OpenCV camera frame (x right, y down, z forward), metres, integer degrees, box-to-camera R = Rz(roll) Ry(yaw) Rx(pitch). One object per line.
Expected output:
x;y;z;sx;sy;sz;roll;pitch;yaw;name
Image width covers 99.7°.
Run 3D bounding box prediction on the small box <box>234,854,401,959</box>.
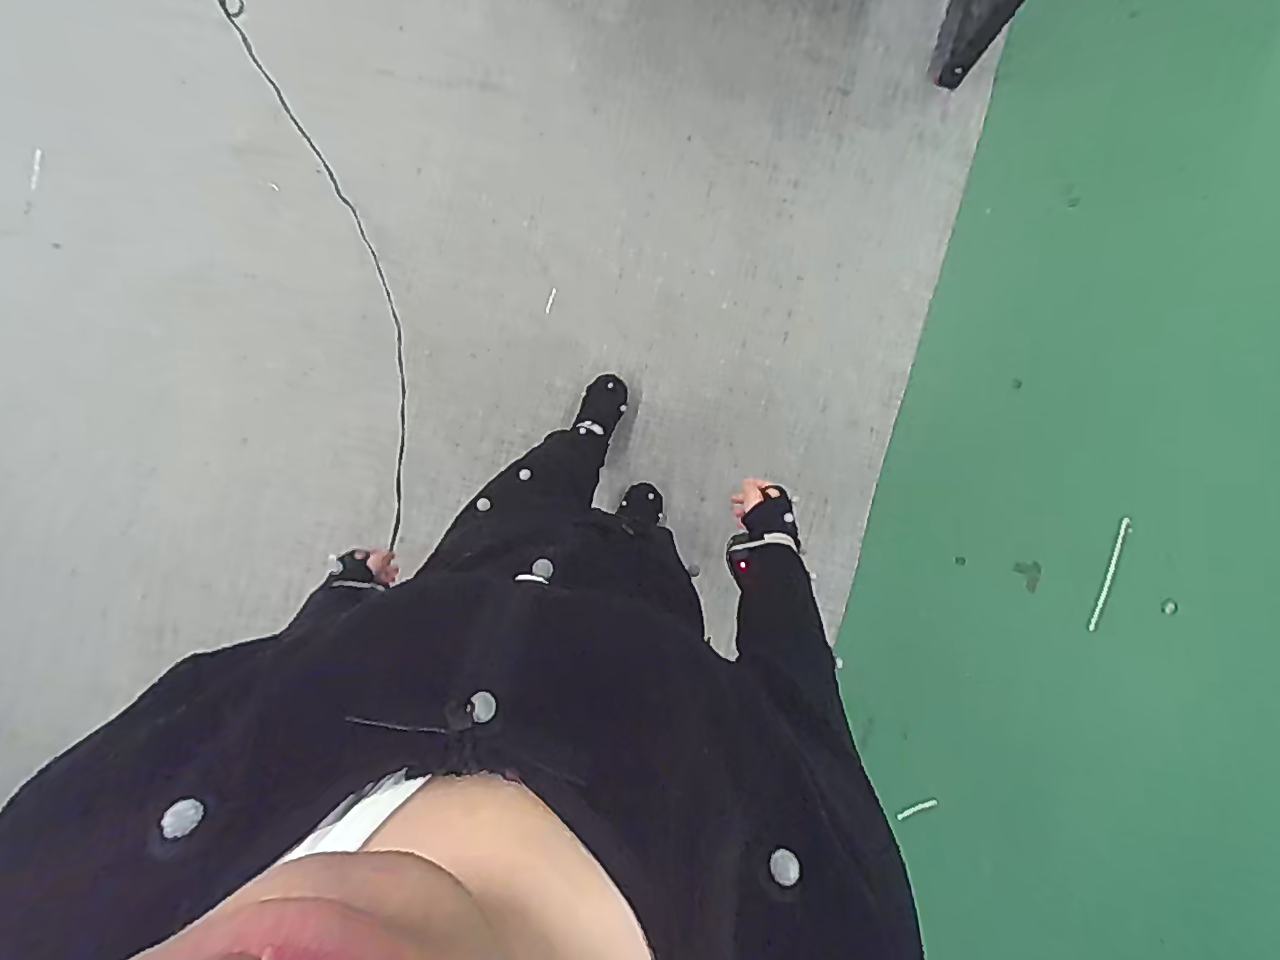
-0.501;0.740;0.842;0.168;0.176;0.179;14;93;2;small box
